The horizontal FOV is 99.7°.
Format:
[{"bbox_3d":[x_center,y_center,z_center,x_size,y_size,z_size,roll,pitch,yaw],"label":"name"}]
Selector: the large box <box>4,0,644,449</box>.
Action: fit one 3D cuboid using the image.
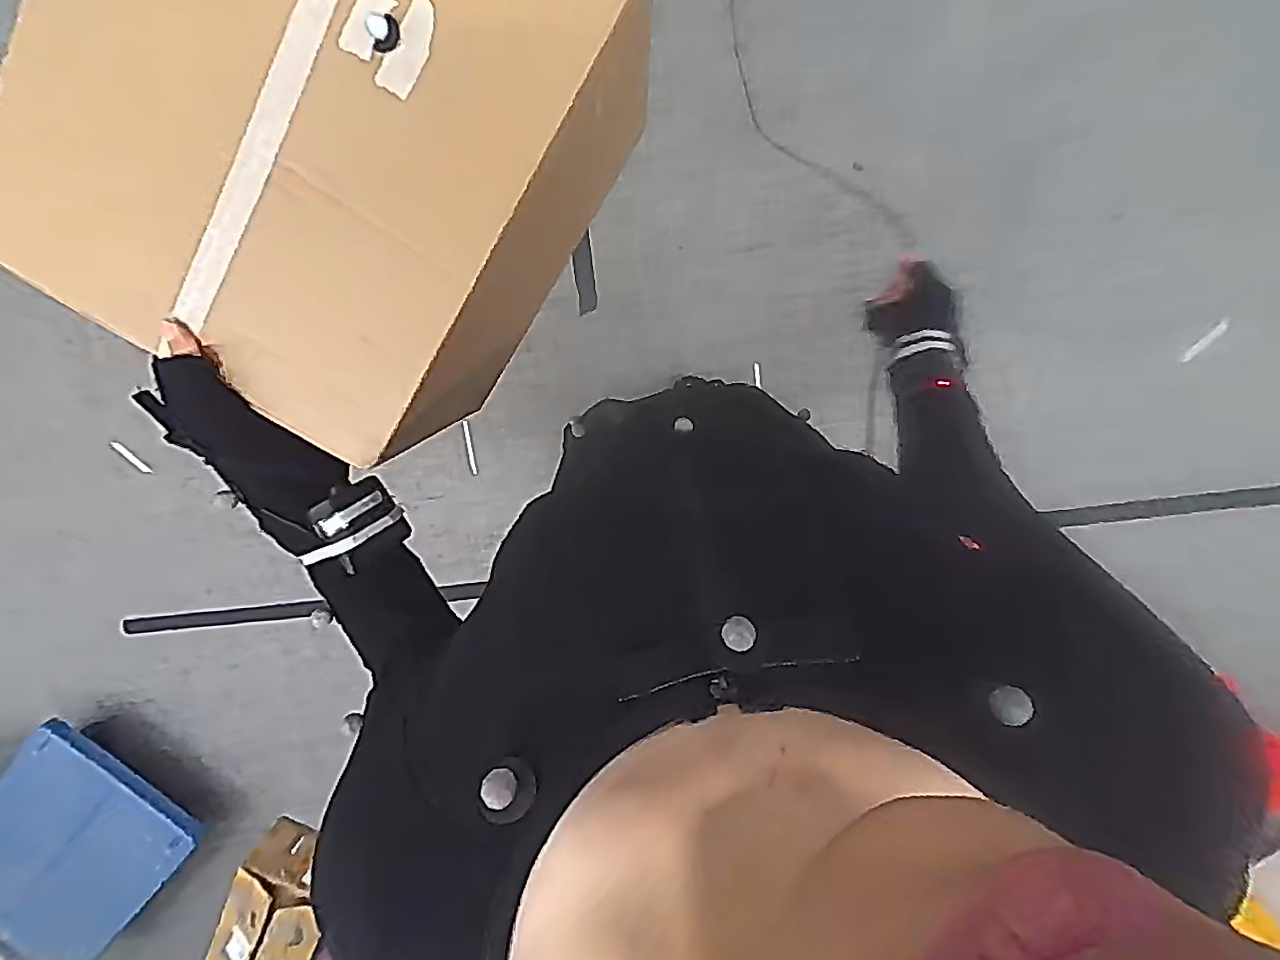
[{"bbox_3d":[-0.226,-0.296,0.510,0.320,0.320,0.408,32,102,-9],"label":"large box"}]
